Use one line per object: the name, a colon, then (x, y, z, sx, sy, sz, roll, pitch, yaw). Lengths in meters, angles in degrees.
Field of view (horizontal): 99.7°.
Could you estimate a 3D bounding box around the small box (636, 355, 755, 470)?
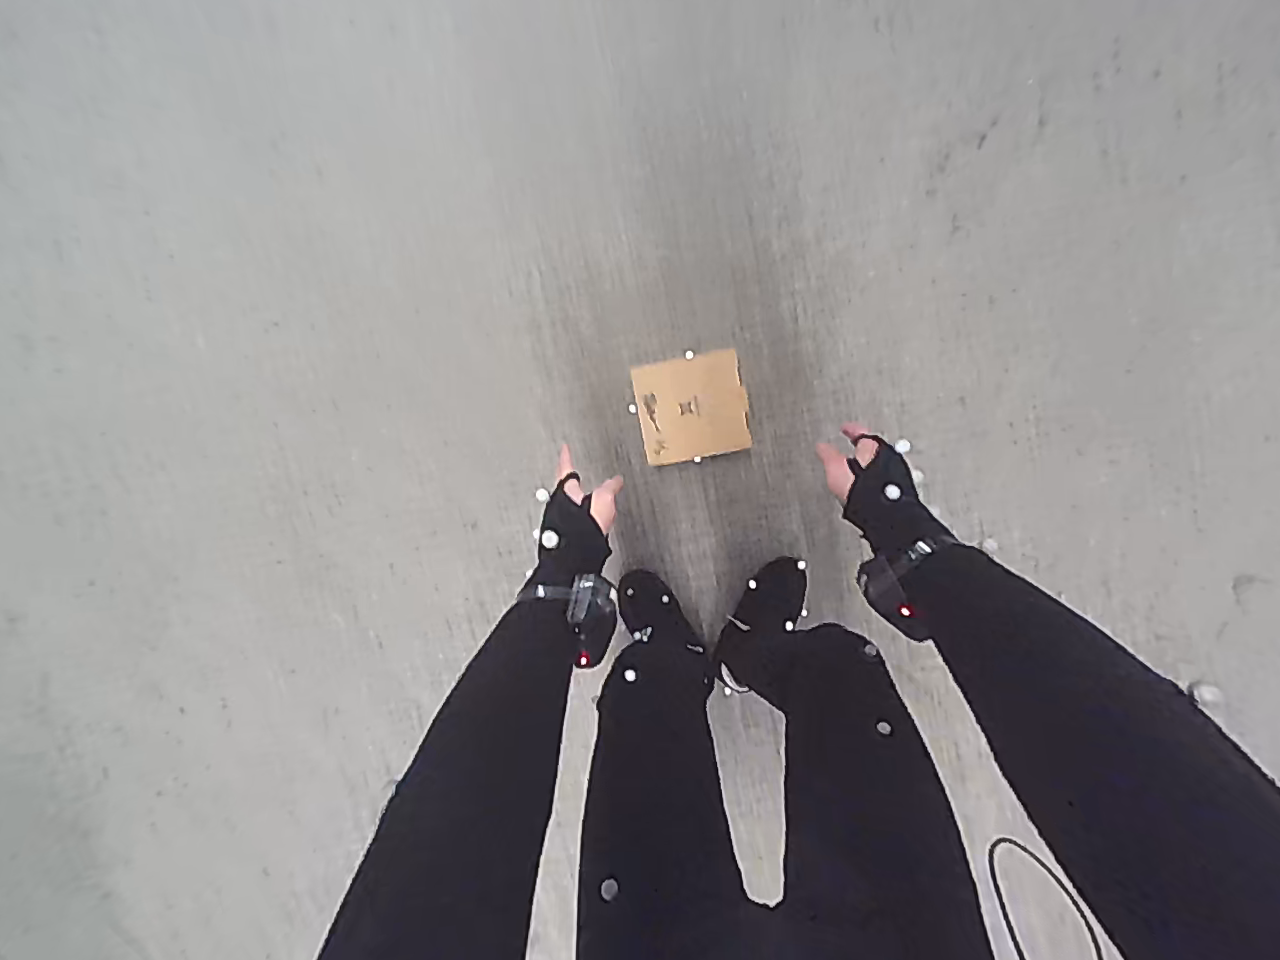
small box: (0.093, -0.119, 0.966, 0.179, 0.176, 0.168, -10, 95, 3)
